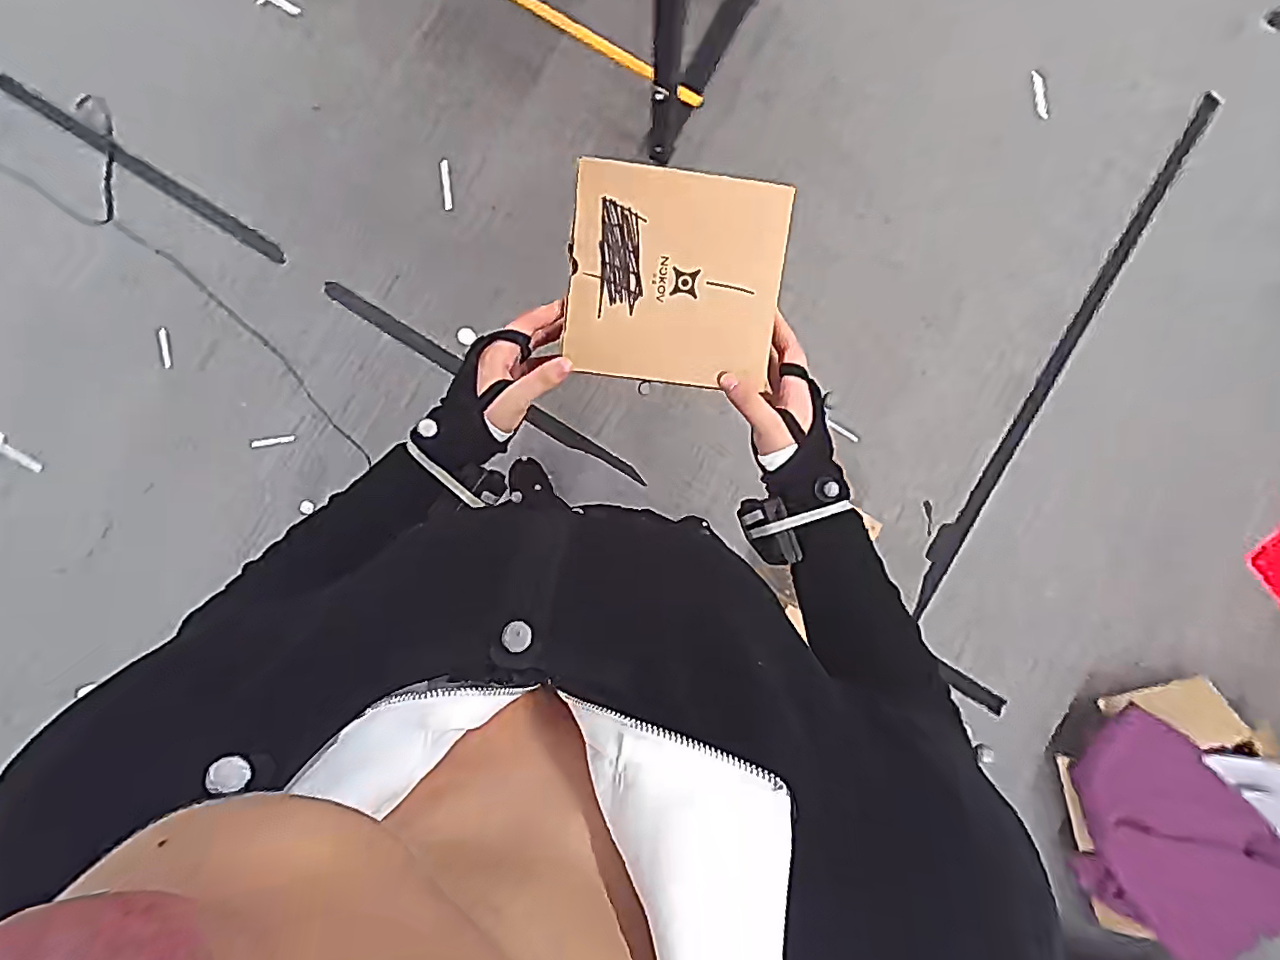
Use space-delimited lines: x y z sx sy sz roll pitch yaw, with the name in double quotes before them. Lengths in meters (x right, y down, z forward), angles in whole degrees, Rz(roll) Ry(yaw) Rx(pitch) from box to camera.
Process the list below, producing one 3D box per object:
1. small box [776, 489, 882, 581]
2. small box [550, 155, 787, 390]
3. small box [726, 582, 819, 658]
"small box" 0.480 0.140 1.407 0.179 0.176 0.168 33 89 1
"small box" 0.018 -0.176 0.511 0.179 0.176 0.168 5 100 -4
"small box" 0.338 0.389 1.405 0.168 0.176 0.179 30 90 0
